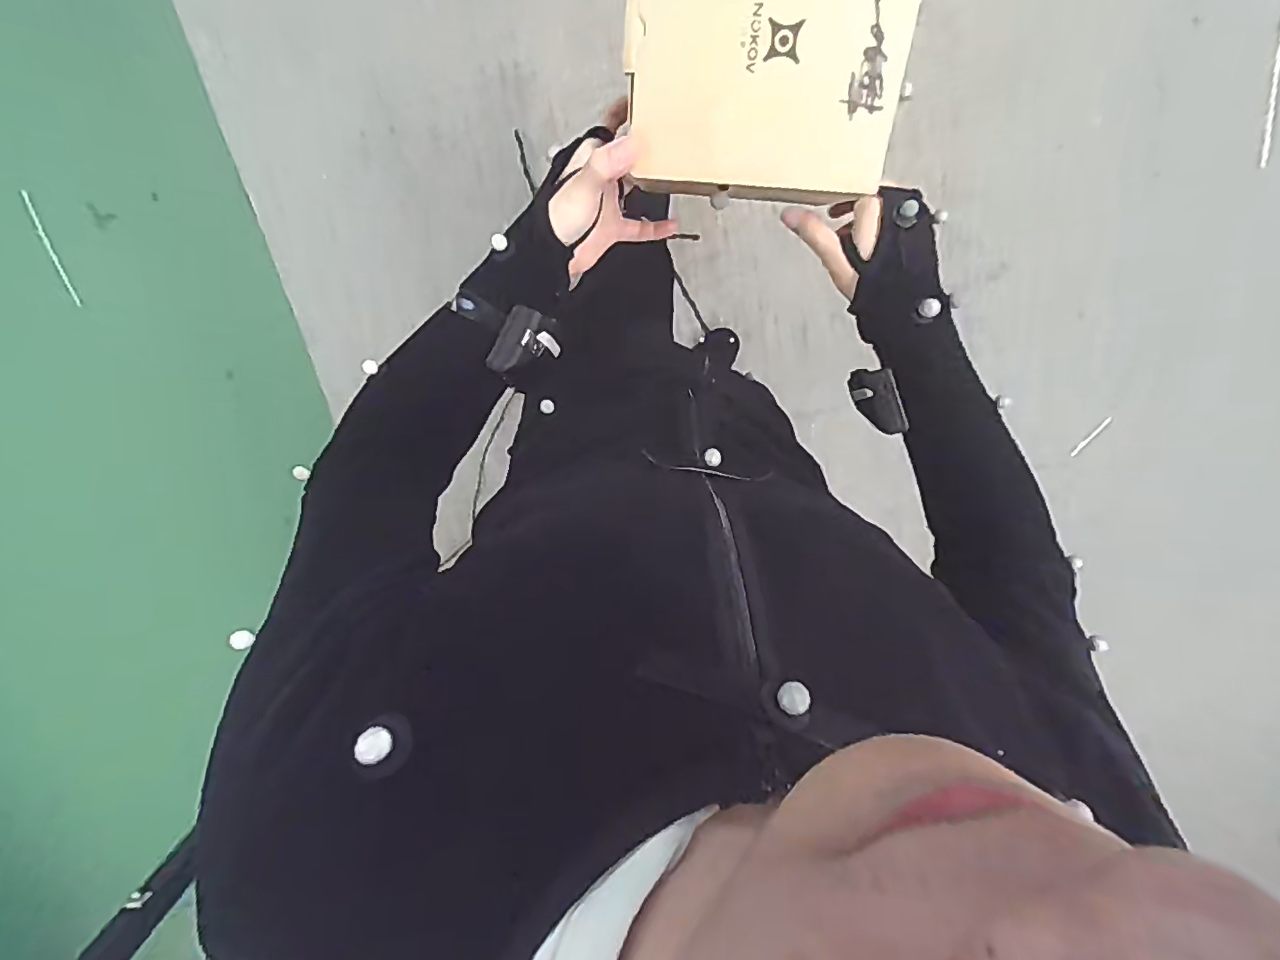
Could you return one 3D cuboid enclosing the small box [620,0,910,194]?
[{"bbox_3d":[0.084,-0.318,0.411,0.179,0.176,0.168,5,115,3],"label":"small box"}]
